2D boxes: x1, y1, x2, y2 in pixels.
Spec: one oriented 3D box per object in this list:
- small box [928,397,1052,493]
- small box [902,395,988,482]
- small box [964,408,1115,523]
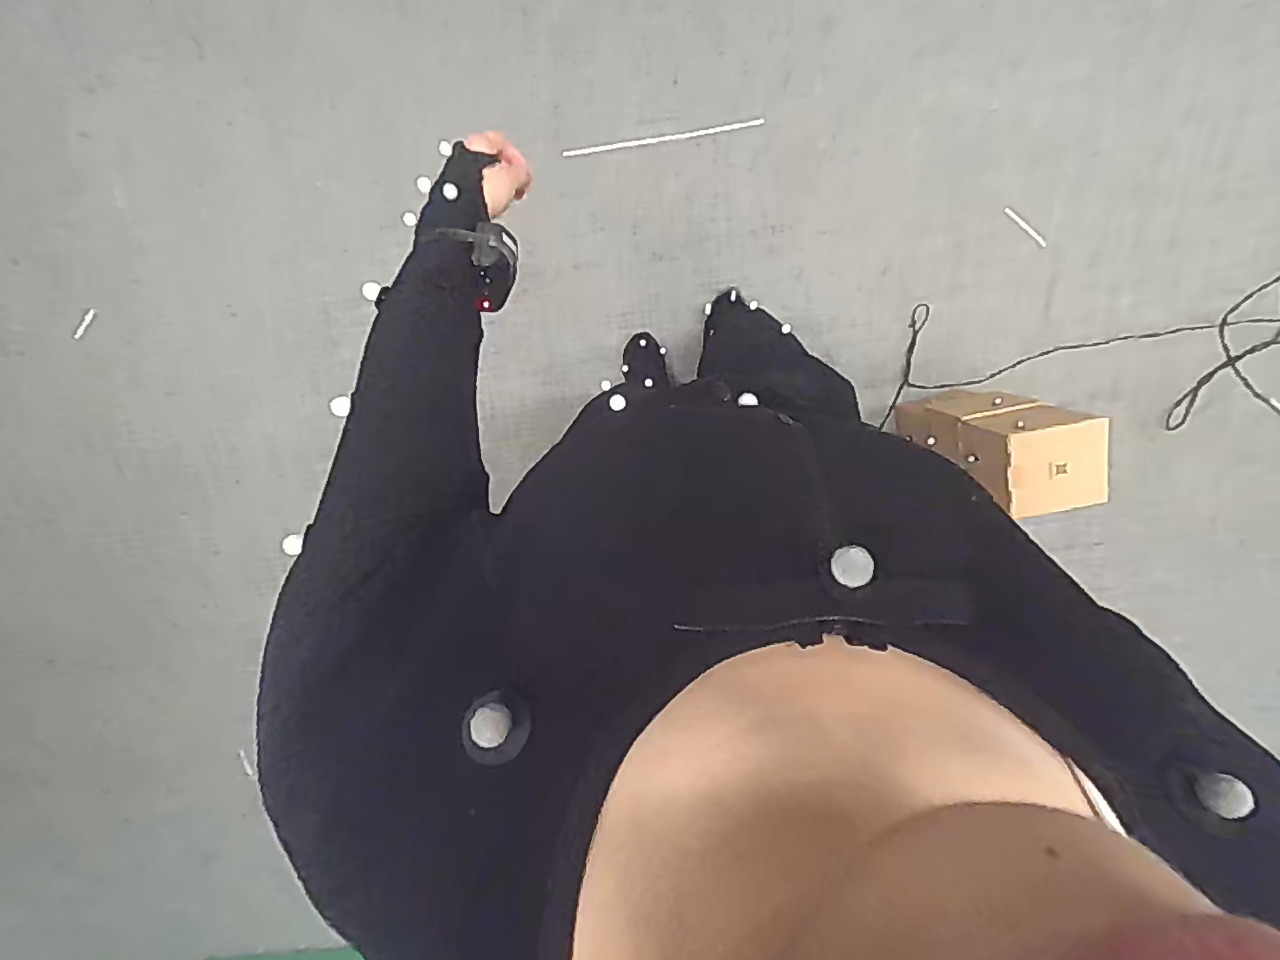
[{"bbox_3d":[0.771,-0.083,1.201,0.179,0.176,0.168,-11,104,5],"label":"small box"},{"bbox_3d":[0.783,-0.109,1.363,0.179,0.176,0.168,-15,105,5],"label":"small box"},{"bbox_3d":[0.763,-0.035,1.046,0.179,0.176,0.168,-12,104,6],"label":"small box"}]
